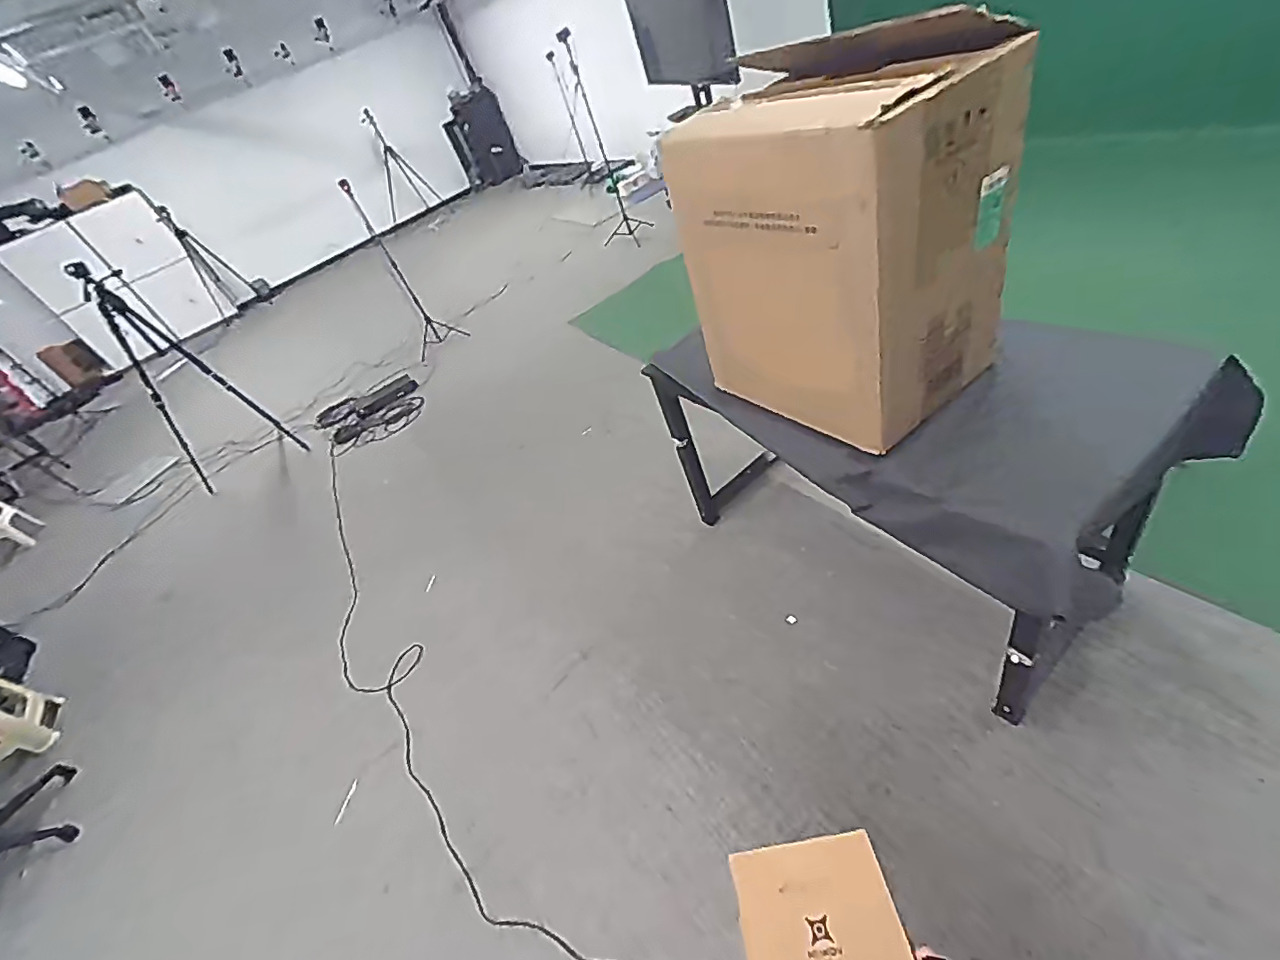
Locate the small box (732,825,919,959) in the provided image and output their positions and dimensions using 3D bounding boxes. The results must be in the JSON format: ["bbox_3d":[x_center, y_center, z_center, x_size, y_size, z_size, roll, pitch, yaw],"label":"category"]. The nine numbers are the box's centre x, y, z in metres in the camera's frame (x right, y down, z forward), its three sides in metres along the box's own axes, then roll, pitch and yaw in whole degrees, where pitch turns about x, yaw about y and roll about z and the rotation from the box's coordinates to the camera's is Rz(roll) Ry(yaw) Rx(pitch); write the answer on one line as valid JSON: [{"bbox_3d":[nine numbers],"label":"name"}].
[{"bbox_3d":[0.210,0.531,0.606,0.168,0.176,0.179,-13,32,4],"label":"small box"}]
